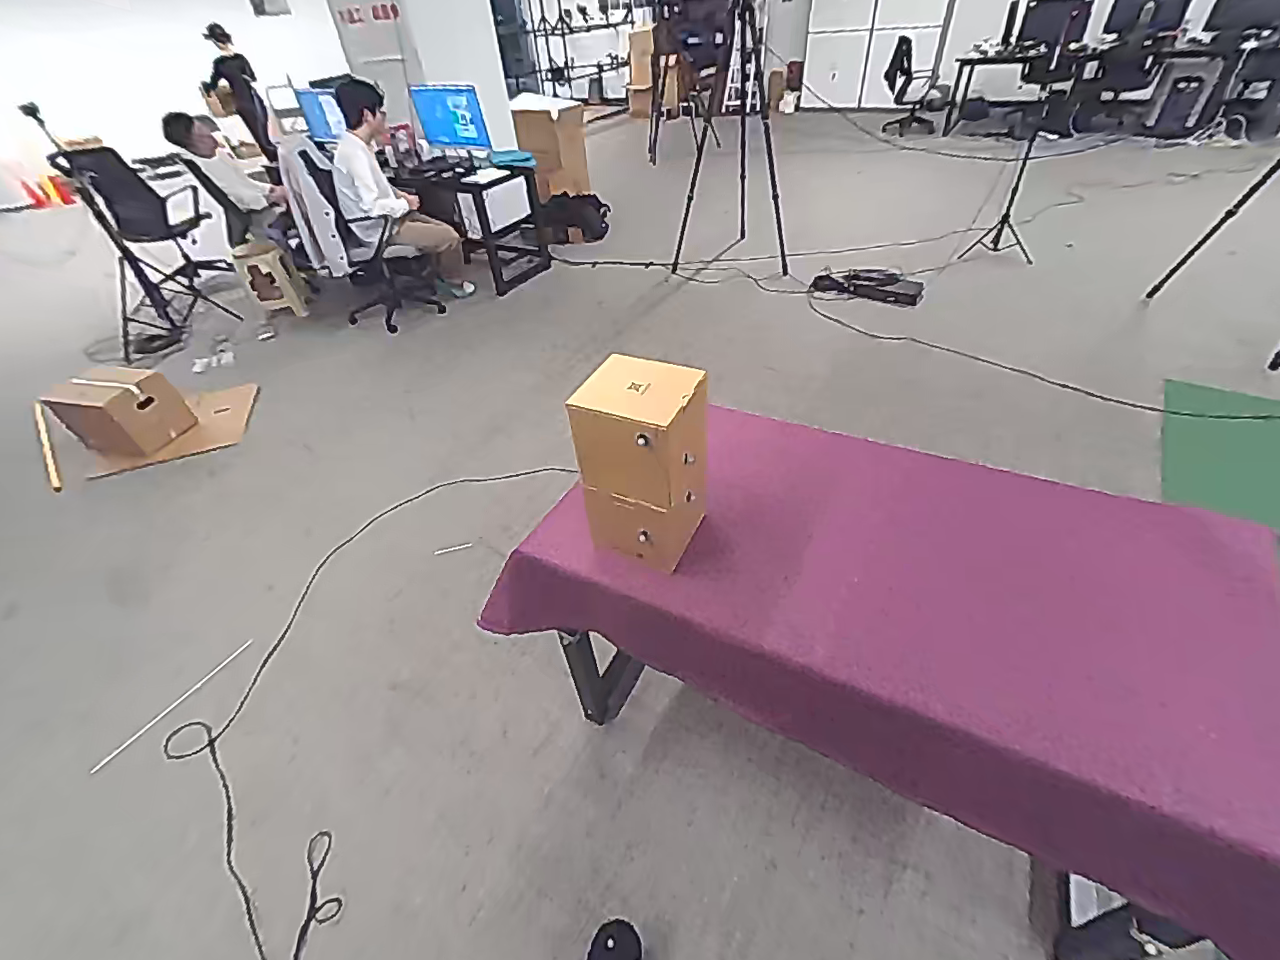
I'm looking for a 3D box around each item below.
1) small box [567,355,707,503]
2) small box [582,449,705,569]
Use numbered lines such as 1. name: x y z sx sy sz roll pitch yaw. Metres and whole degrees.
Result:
1. small box: 0.001 -0.085 0.905 0.179 0.176 0.168 16 46 20
2. small box: 0.014 0.038 1.011 0.168 0.176 0.179 17 45 22
